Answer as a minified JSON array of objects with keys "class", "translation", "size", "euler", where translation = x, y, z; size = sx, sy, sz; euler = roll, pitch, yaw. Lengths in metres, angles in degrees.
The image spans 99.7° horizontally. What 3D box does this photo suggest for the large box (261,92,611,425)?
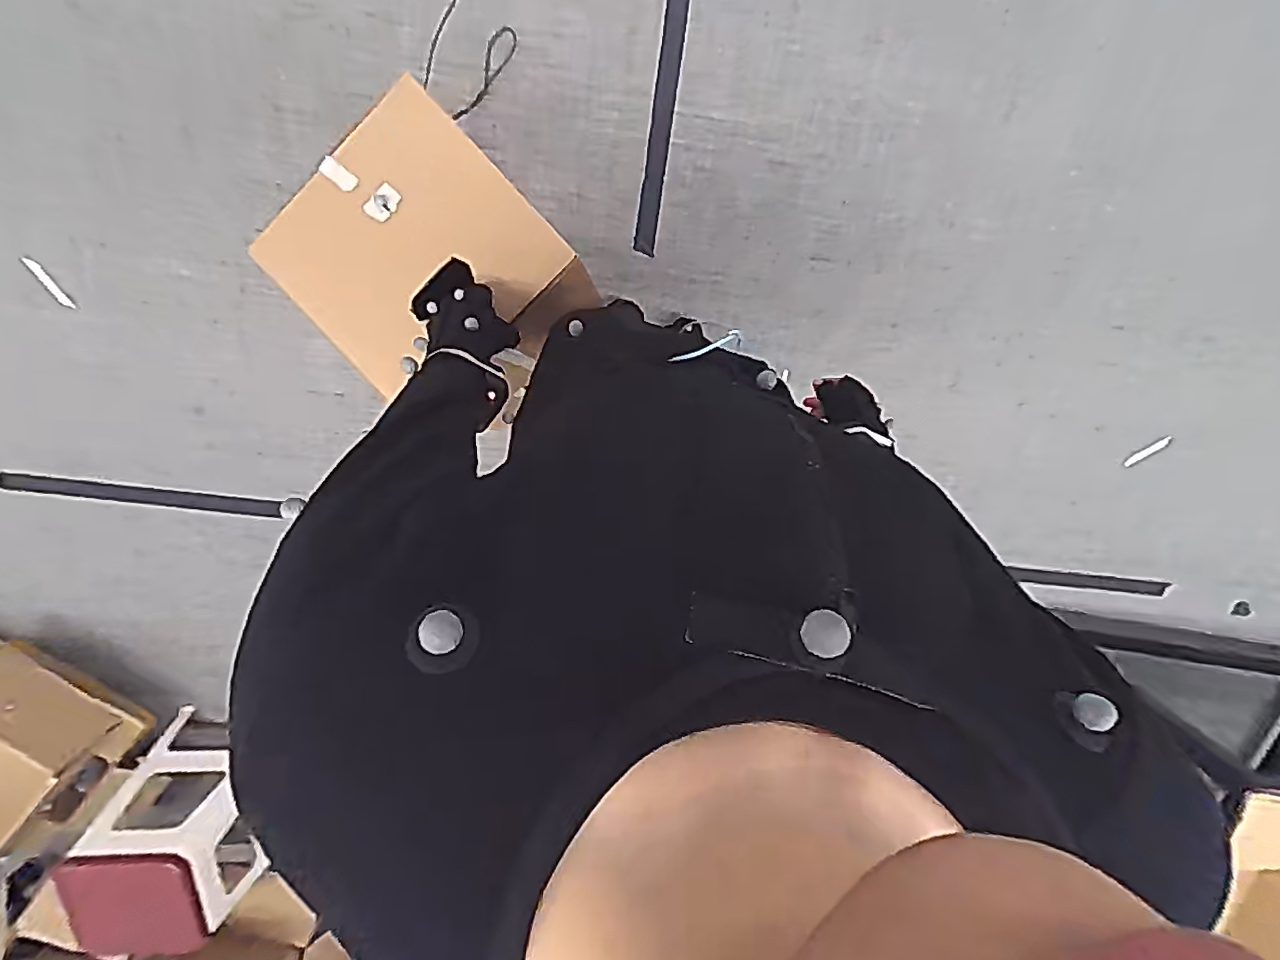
[{"class":"large box","translation":[-0.287,-0.311,0.896],"size":[0.320,0.408,0.320],"euler":[-43,92,8]}]
